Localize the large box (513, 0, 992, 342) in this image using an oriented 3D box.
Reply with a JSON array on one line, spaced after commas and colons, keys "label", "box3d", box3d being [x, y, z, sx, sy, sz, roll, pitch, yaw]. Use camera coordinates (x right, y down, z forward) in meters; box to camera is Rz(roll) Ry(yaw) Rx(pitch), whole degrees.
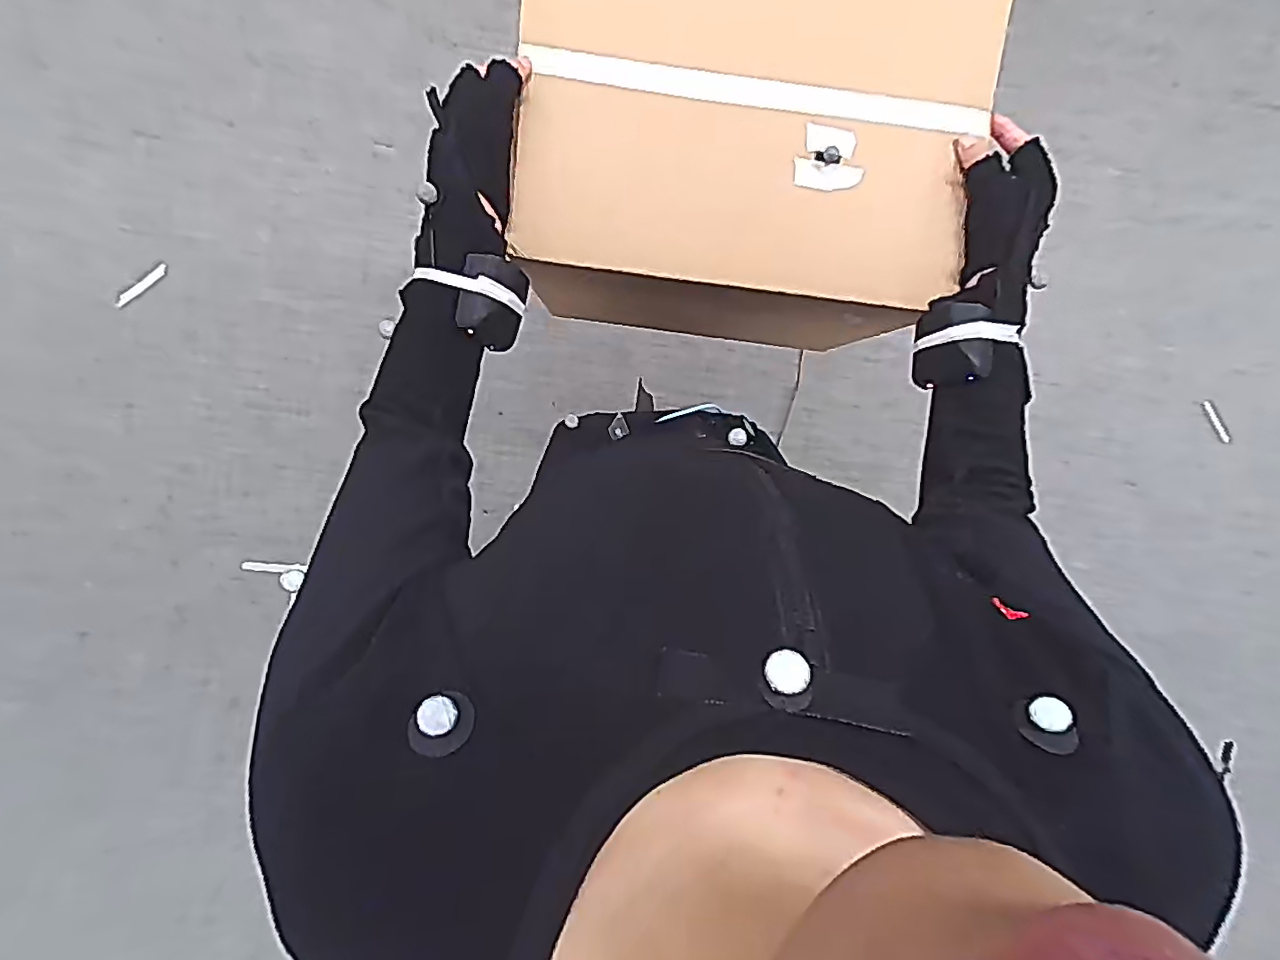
[{"label": "large box", "box3d": [0.090, -0.351, 0.621, 0.408, 0.320, 0.320, 7, 98, -3]}]
